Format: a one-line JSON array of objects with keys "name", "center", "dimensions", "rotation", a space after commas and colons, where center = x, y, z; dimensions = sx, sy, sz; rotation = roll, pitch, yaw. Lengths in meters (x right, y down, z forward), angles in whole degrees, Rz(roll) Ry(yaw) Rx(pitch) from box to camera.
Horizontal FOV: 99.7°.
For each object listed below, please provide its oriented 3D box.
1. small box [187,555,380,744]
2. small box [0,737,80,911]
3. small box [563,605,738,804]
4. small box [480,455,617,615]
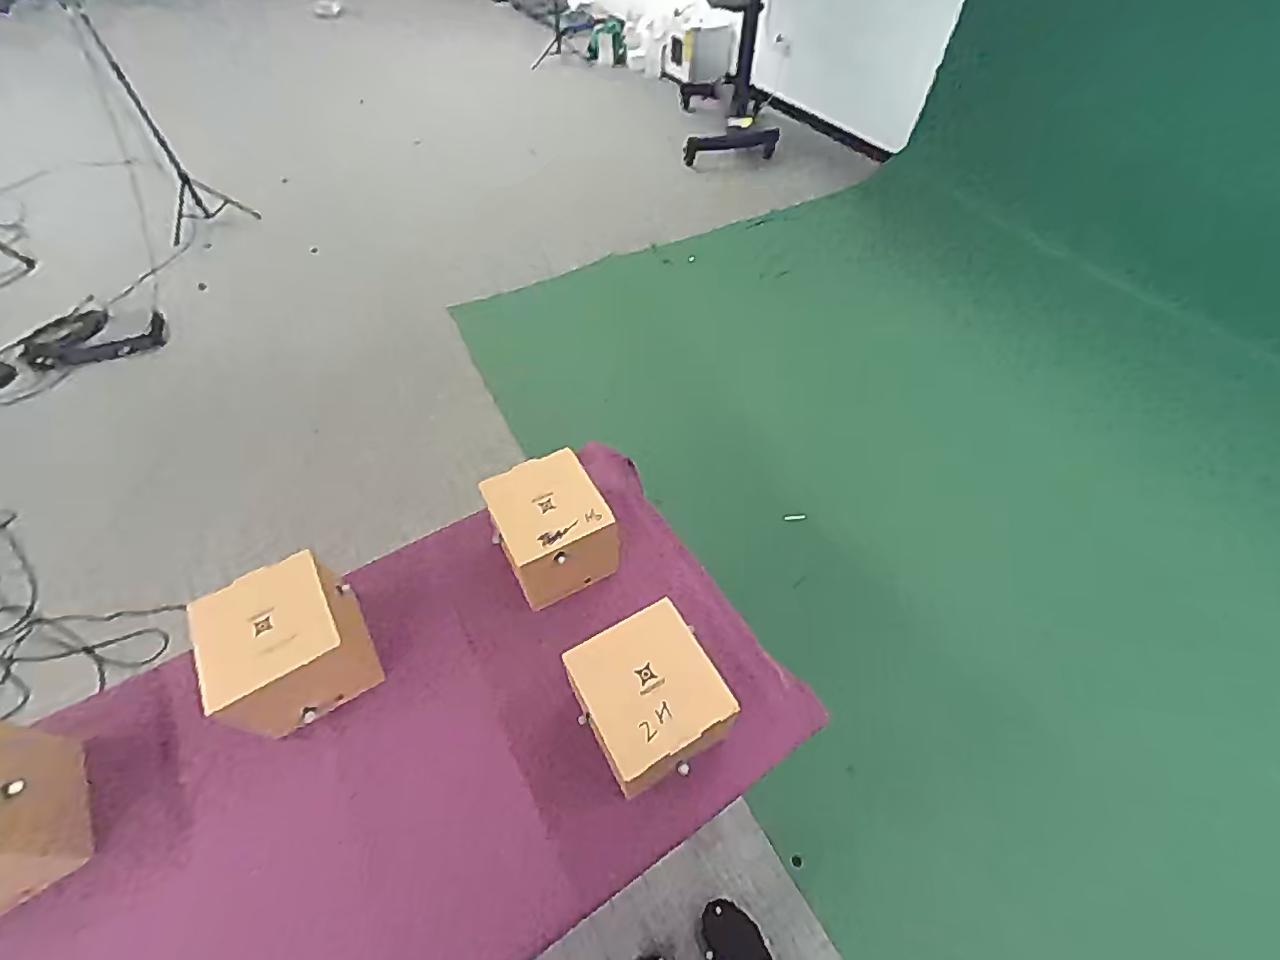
[{"name": "small box", "center": [-0.509, 0.248, 0.787], "dimensions": [0.168, 0.176, 0.179], "rotation": [-27, 58, -19]}, {"name": "small box", "center": [-0.822, 0.425, 0.638], "dimensions": [0.168, 0.176, 0.179], "rotation": [-29, 57, -22]}, {"name": "small box", "center": [0.009, 0.311, 0.744], "dimensions": [0.168, 0.176, 0.179], "rotation": [-24, 56, -17]}, {"name": "small box", "center": [-0.150, 0.095, 0.914], "dimensions": [0.168, 0.176, 0.179], "rotation": [-24, 56, -18]}]
